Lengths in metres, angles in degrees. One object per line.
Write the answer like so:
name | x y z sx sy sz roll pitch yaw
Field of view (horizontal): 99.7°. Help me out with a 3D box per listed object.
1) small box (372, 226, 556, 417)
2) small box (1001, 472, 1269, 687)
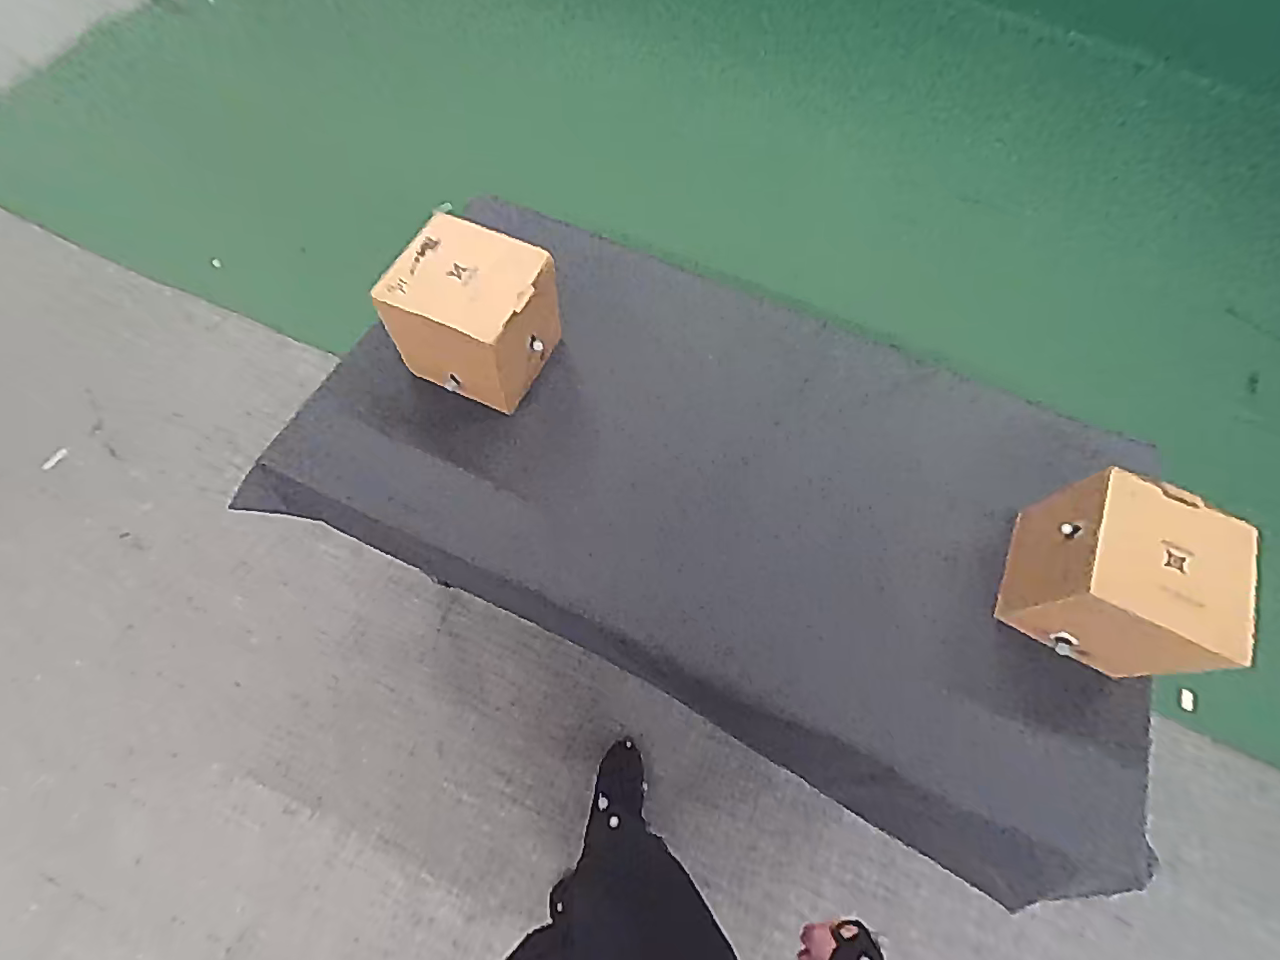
small box | -0.231 -0.214 0.769 0.179 0.176 0.168 23 66 5
small box | 0.581 0.127 0.654 0.168 0.176 0.179 28 68 11
